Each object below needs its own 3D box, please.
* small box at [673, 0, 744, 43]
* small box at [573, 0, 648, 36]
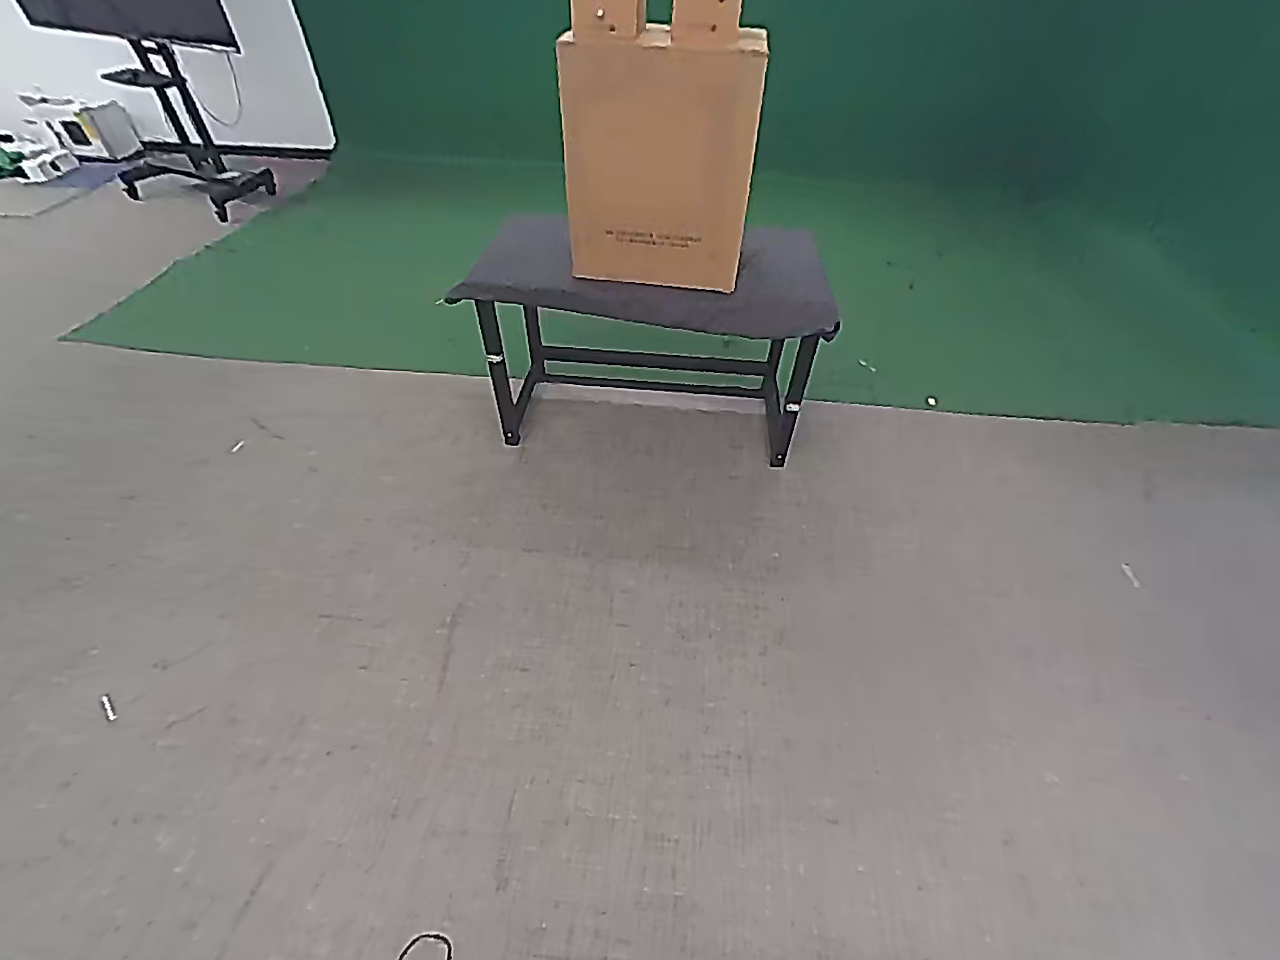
[{"bbox_3d":[0.174,-1.211,1.343,0.168,0.176,0.179,6,48,0],"label":"small box"},{"bbox_3d":[-0.071,-1.233,1.345,0.168,0.176,0.179,8,49,7],"label":"small box"}]
